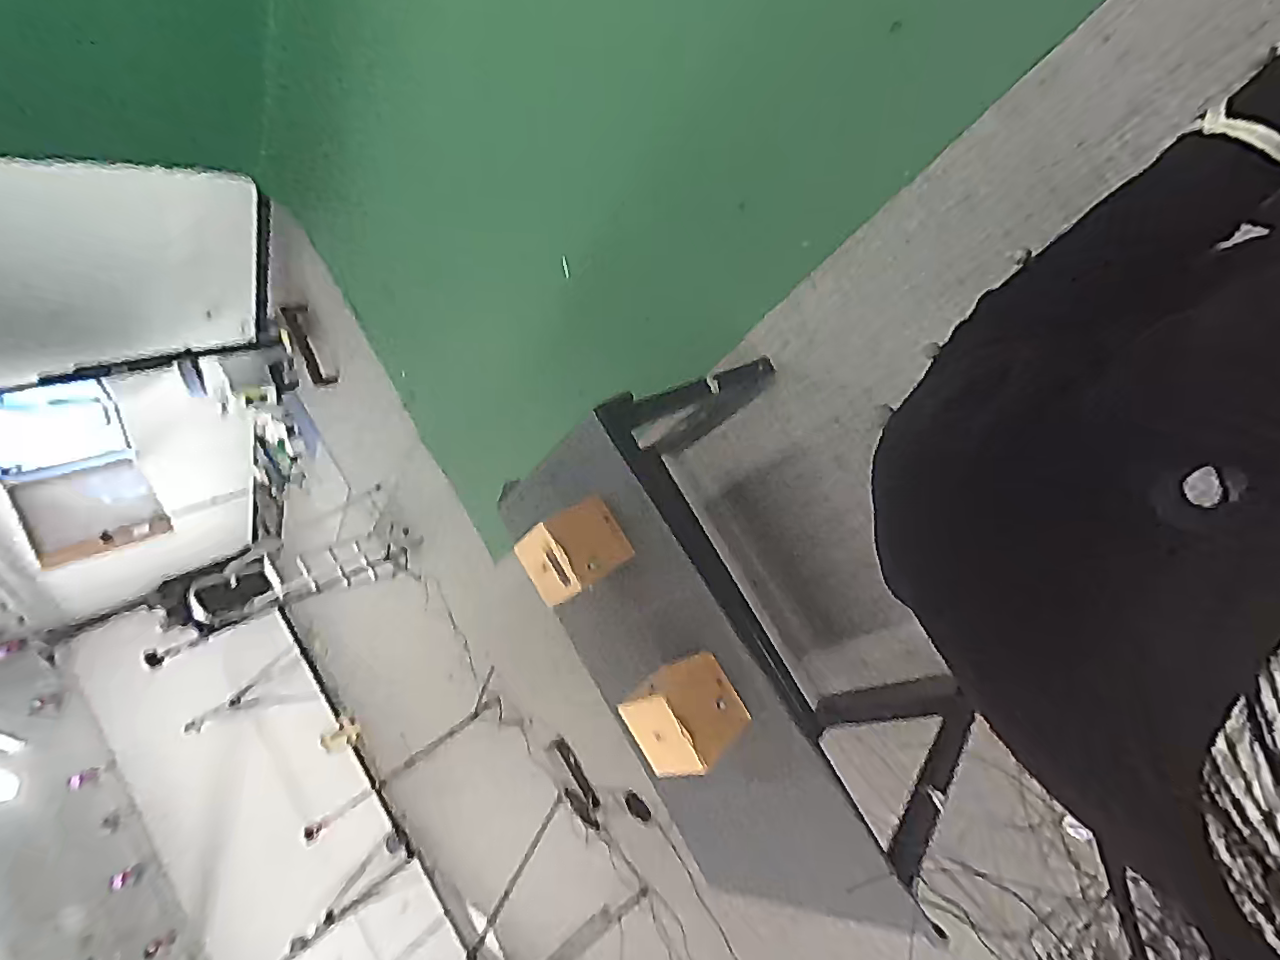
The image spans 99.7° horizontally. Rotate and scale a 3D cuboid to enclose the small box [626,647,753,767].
[{"bbox_3d":[0.108,0.485,1.161,0.168,0.176,0.179,57,137,7],"label":"small box"}]
